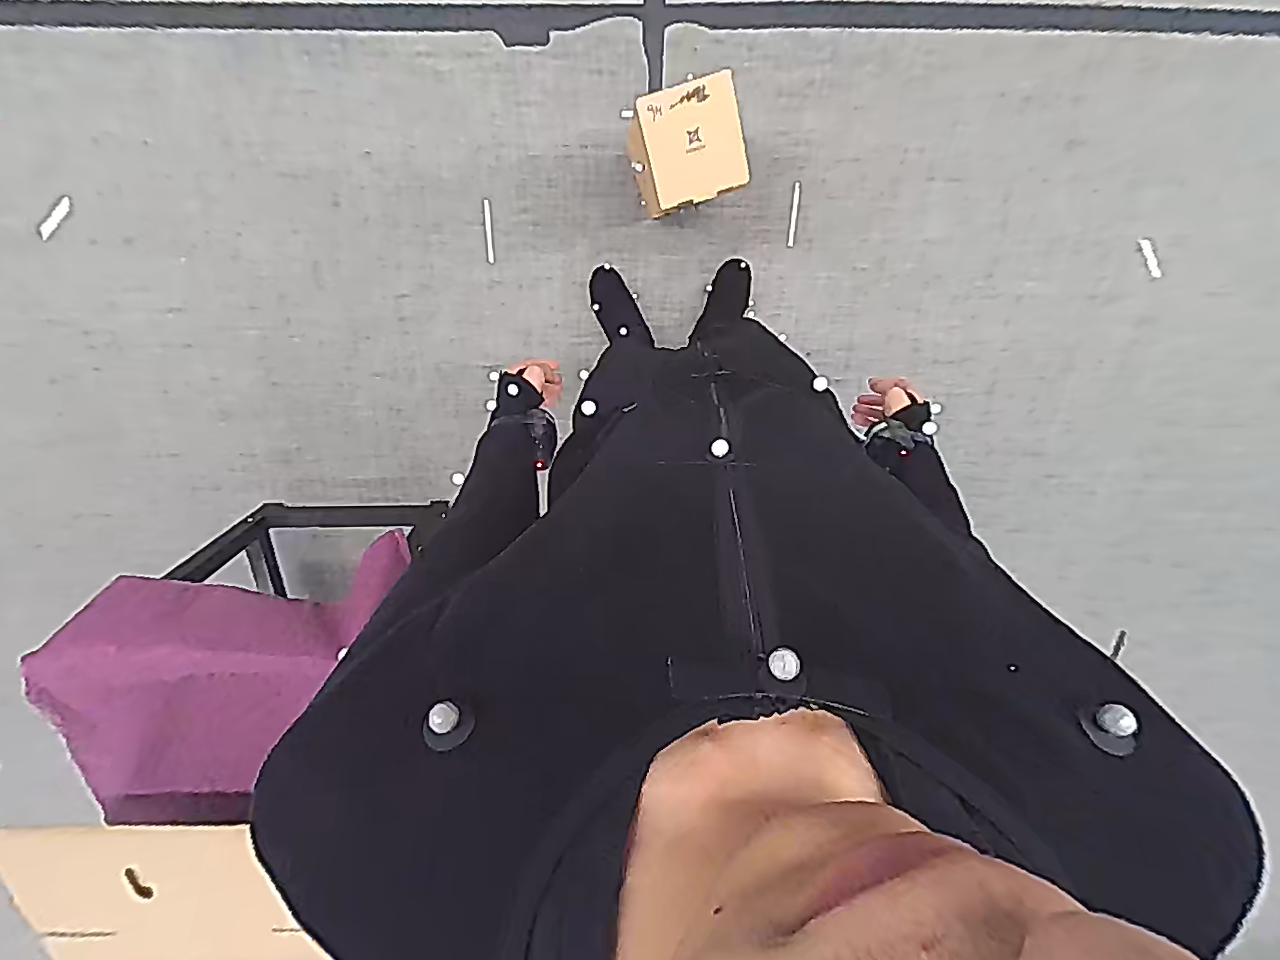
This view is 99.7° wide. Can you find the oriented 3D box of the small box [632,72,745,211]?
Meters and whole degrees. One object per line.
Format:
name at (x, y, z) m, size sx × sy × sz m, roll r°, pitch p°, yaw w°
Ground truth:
small box at (0.086, -0.613, 1.003) m, size 0.168 × 0.176 × 0.179 m, roll -15°, pitch 114°, yaw 3°
